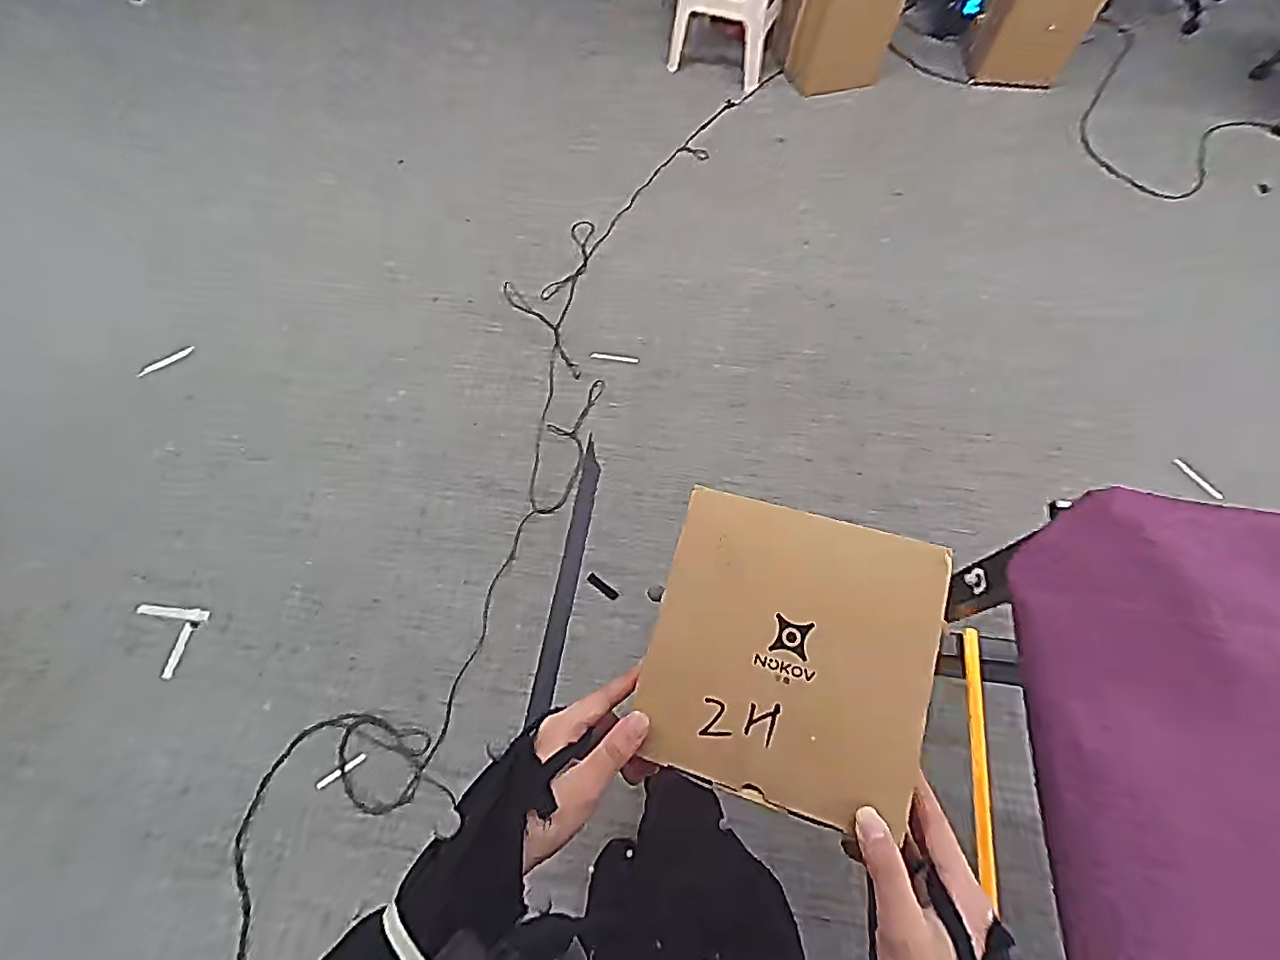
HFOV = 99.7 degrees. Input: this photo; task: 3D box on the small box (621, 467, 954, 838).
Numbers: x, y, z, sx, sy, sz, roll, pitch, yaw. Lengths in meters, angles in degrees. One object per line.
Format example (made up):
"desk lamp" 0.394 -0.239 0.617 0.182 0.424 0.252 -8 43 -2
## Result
"small box" 0.101 0.113 0.399 0.168 0.176 0.179 14 77 14
